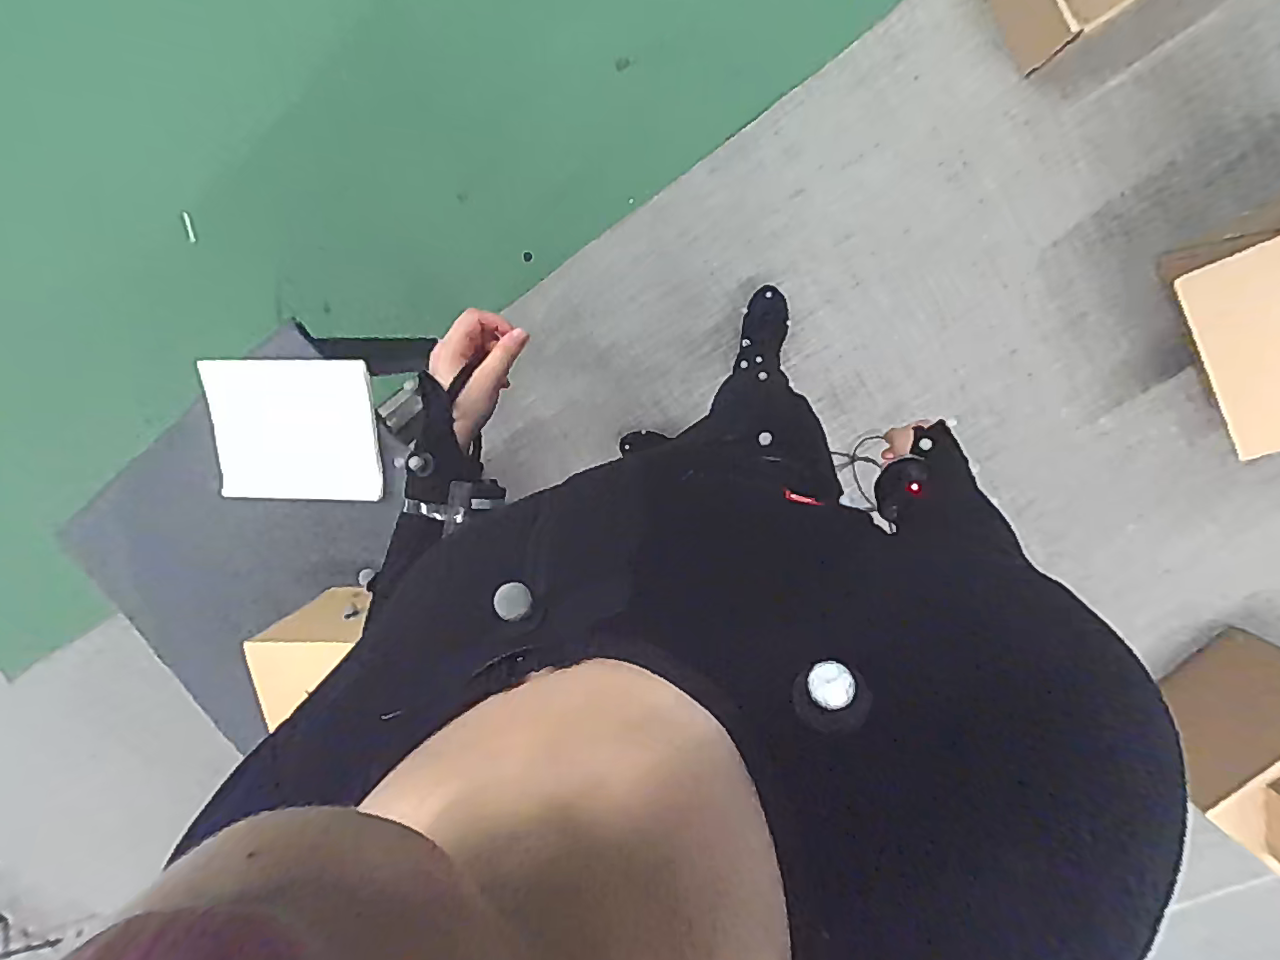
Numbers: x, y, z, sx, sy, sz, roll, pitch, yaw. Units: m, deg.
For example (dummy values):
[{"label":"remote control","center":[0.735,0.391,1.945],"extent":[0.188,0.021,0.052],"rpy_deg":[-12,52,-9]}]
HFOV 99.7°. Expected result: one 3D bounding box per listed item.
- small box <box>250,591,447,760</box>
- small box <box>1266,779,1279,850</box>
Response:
[{"label":"small box","center":[-0.402,0.269,0.778],"extent":[0.168,0.176,0.179],"rpy_deg":[-3,105,9]},{"label":"small box","center":[1.439,0.730,1.094],"extent":[0.168,0.176,0.179],"rpy_deg":[-11,100,10]}]
